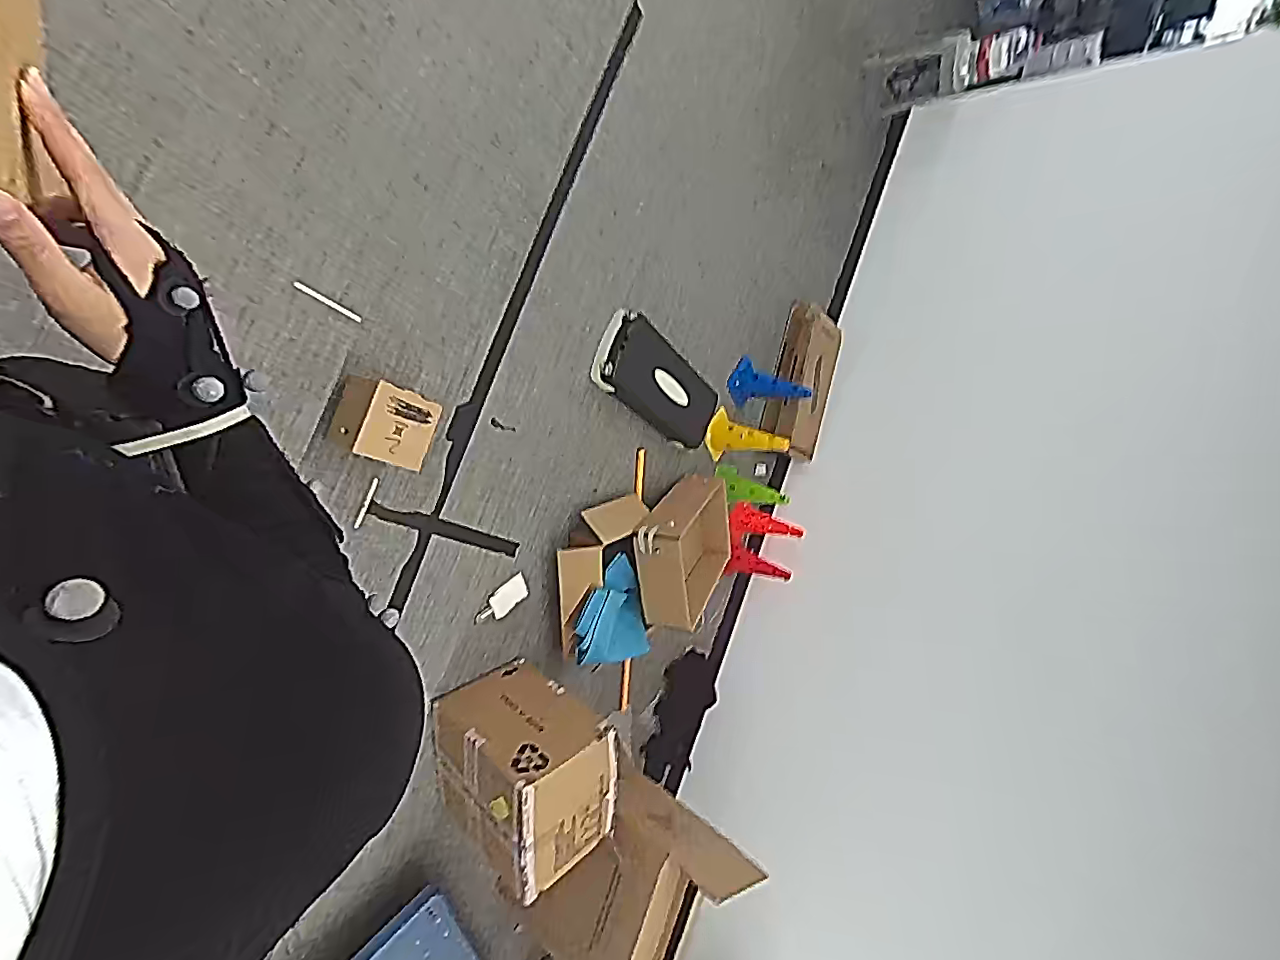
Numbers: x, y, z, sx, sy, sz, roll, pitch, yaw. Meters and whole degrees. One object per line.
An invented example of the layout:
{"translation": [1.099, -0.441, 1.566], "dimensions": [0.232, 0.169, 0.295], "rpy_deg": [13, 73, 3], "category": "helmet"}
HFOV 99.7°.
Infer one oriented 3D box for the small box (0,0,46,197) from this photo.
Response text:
{"translation": [-0.389, -0.241, 0.230], "dimensions": [0.168, 0.176, 0.179], "rpy_deg": [-4, 115, -42], "category": "small box"}
